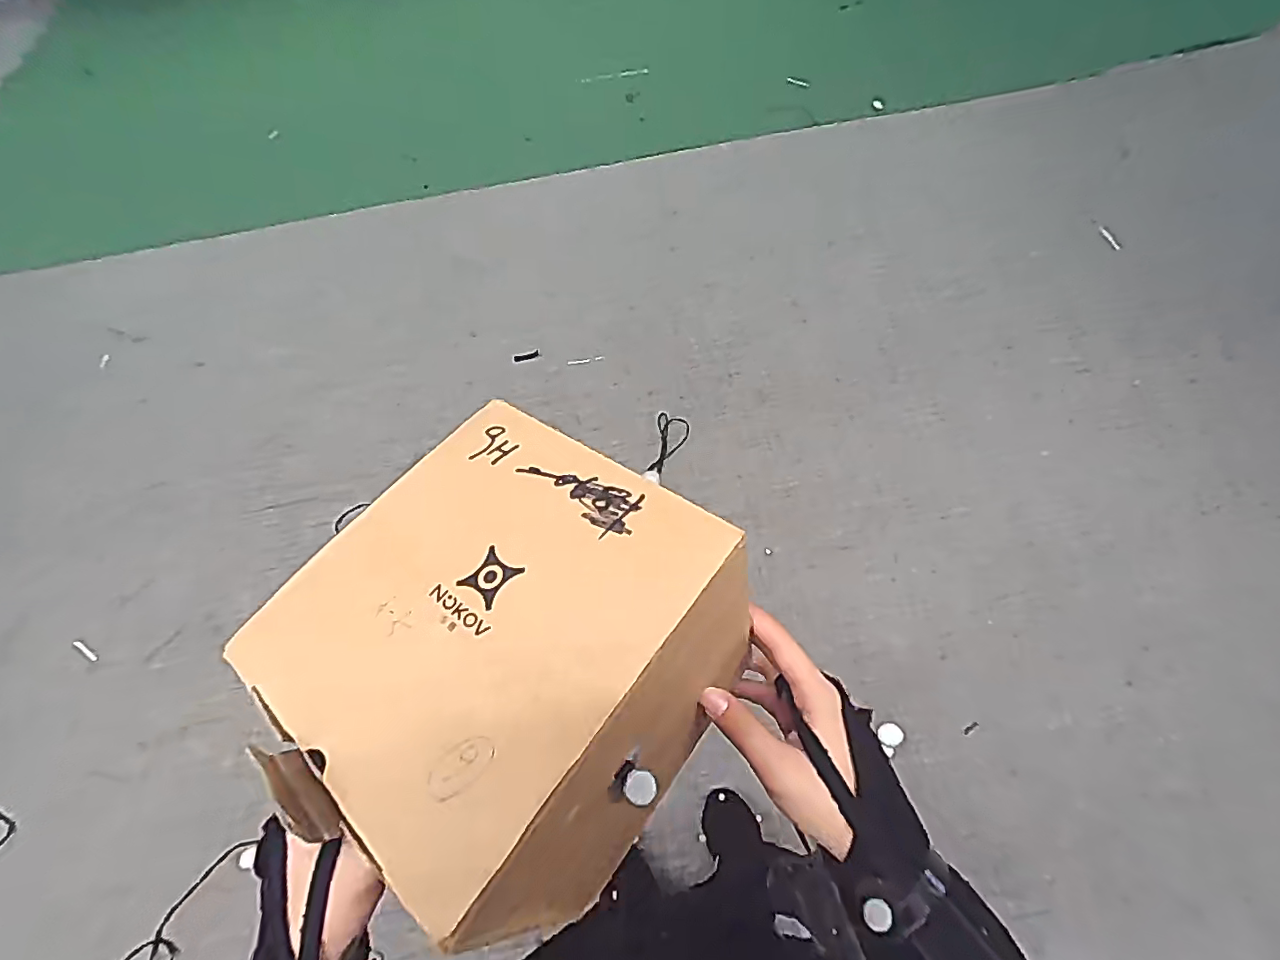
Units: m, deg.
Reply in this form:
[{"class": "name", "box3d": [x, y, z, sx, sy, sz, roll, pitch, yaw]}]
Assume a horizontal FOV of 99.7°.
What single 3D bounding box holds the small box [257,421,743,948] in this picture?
[{"class": "small box", "box3d": [-0.051, 0.105, 0.307, 0.168, 0.176, 0.179, 29, 65, 28]}]
